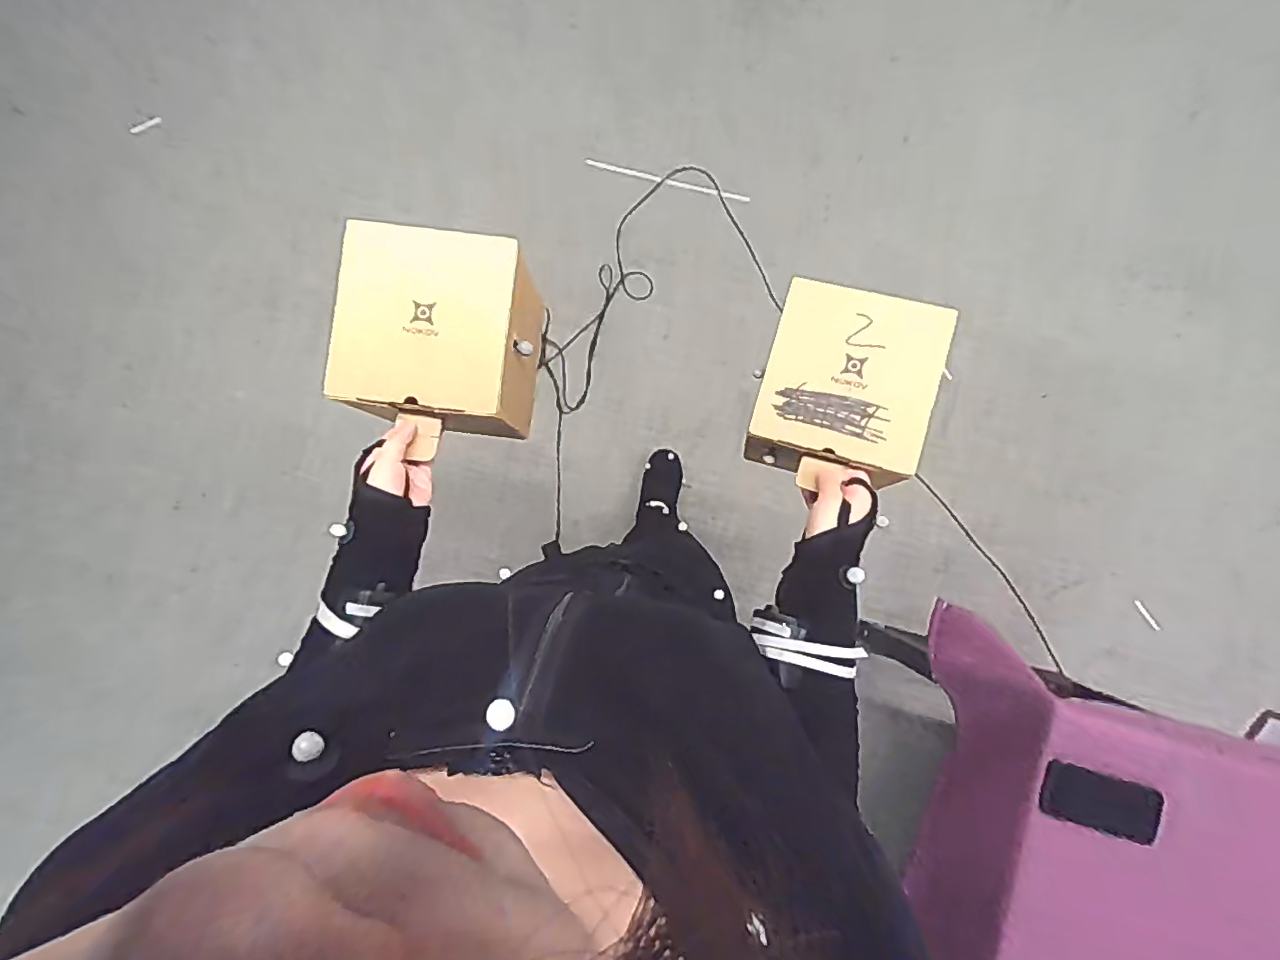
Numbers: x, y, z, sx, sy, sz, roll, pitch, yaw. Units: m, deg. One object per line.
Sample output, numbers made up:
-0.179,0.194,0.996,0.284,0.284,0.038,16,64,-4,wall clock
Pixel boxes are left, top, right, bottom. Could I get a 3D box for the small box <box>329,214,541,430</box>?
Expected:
-0.209,-0.160,0.601,0.168,0.176,0.179,6,88,-1,small box
